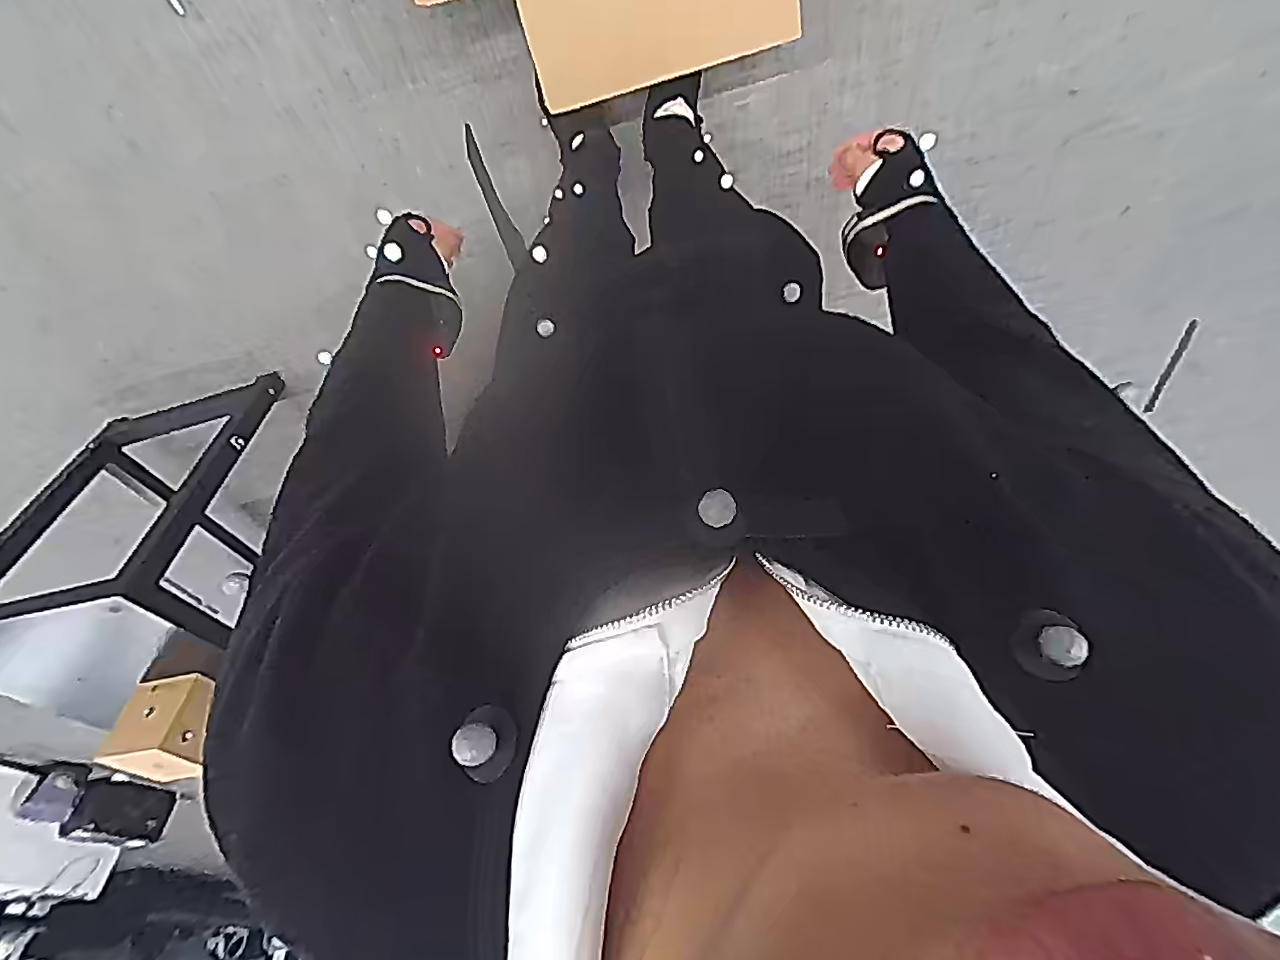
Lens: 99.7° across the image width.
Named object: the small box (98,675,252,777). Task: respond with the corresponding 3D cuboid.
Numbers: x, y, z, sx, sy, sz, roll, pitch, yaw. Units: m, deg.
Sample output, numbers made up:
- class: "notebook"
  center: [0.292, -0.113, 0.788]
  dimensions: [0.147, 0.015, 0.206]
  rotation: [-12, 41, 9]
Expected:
- class: "small box"
  center: [-1.066, 0.567, 1.257]
  dimensions: [0.168, 0.176, 0.179]
  rotation: [-12, 136, 9]
